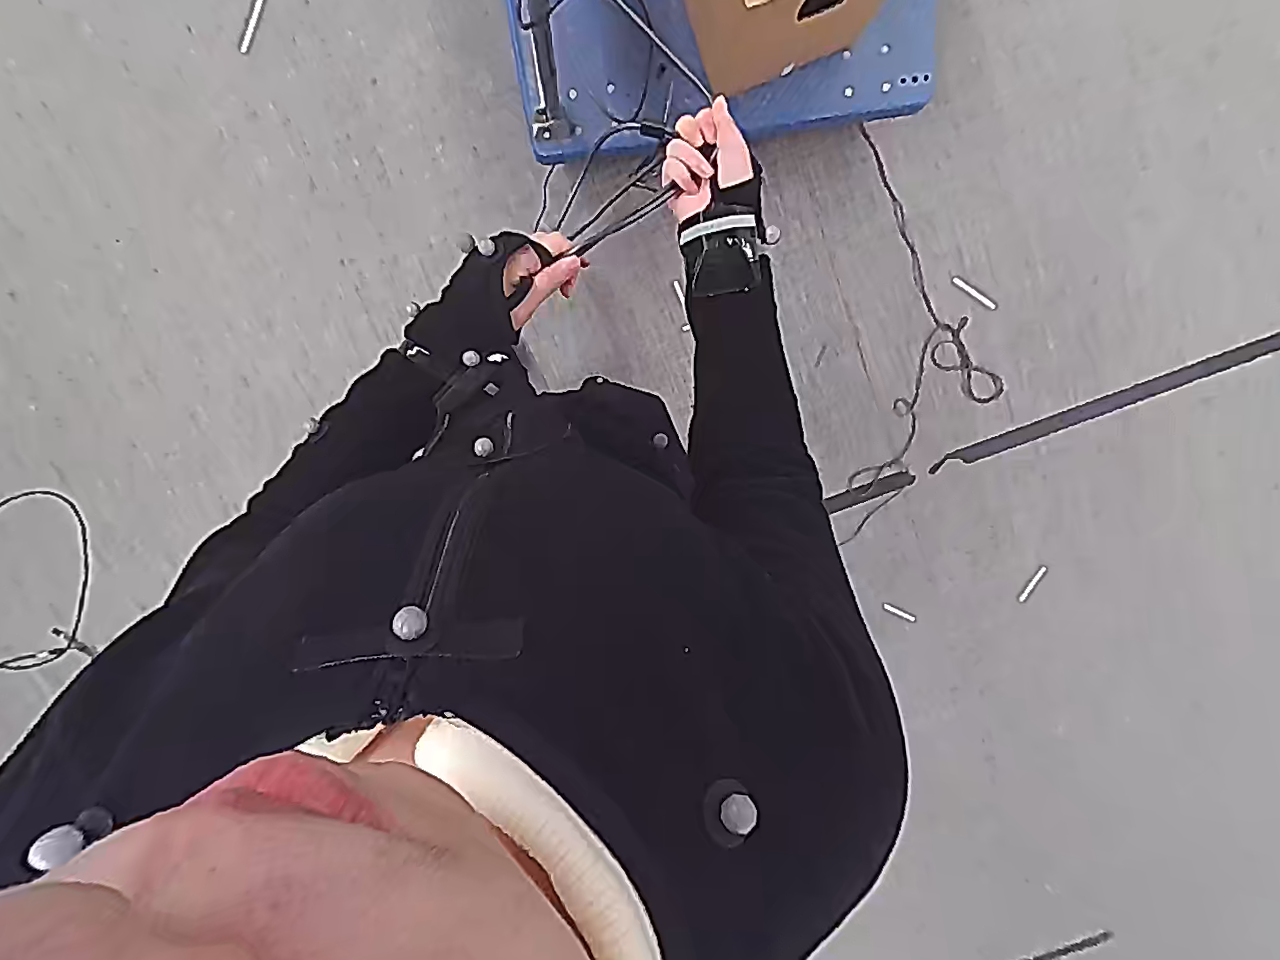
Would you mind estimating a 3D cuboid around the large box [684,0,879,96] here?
[{"bbox_3d":[0.231,-1.005,0.944,0.320,0.320,0.408,-21,103,4],"label":"large box"}]
